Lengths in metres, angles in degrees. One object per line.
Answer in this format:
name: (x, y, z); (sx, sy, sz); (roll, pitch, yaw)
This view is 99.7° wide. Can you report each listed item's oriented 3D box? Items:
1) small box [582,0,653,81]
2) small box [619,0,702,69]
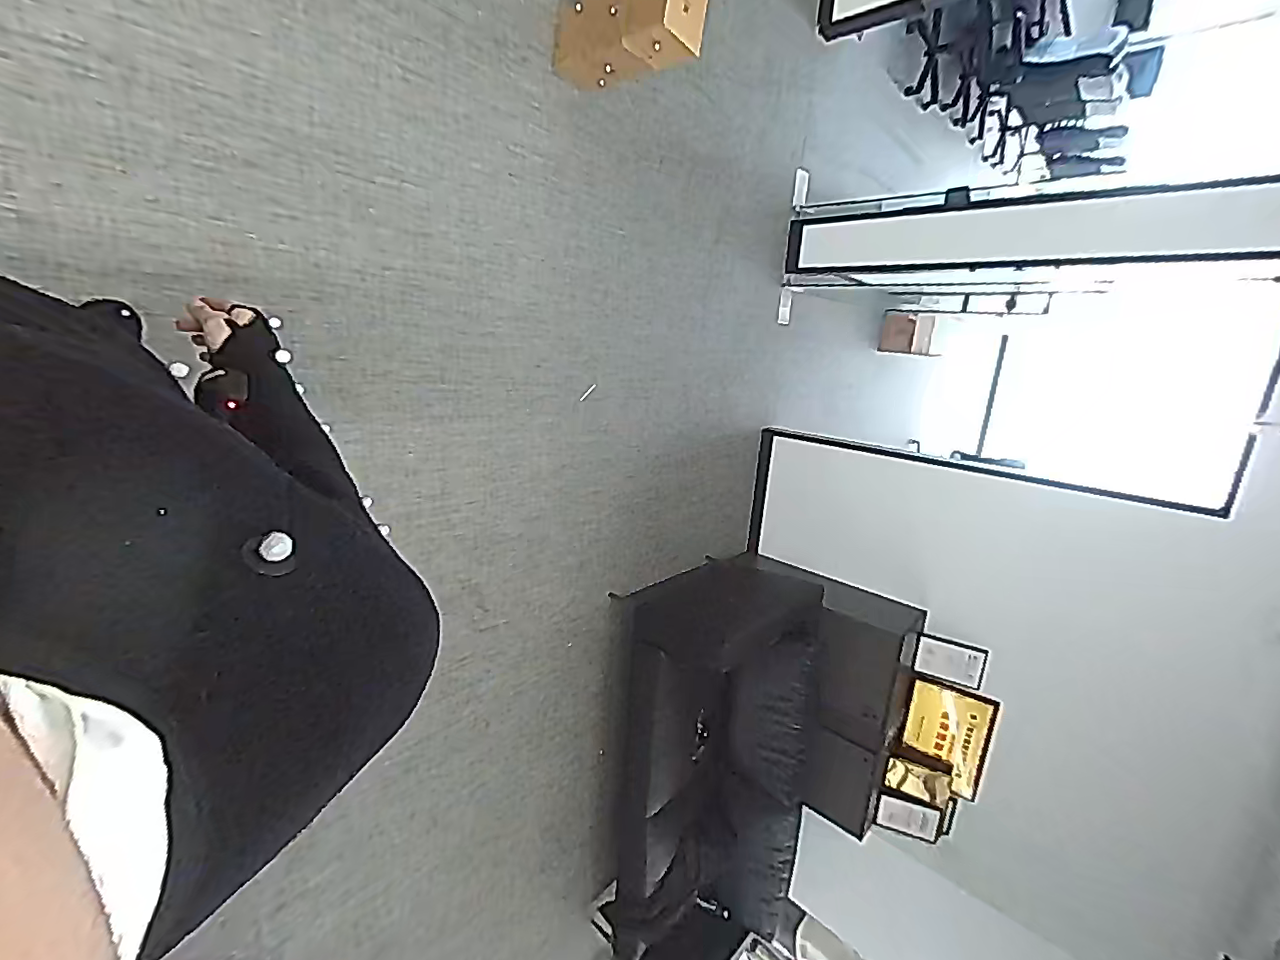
small box: (-0.065, -1.388, 1.678); (0.168, 0.176, 0.179); (-9, 110, -47)
small box: (0.056, -1.351, 1.577); (0.168, 0.176, 0.179); (-3, 104, -48)
